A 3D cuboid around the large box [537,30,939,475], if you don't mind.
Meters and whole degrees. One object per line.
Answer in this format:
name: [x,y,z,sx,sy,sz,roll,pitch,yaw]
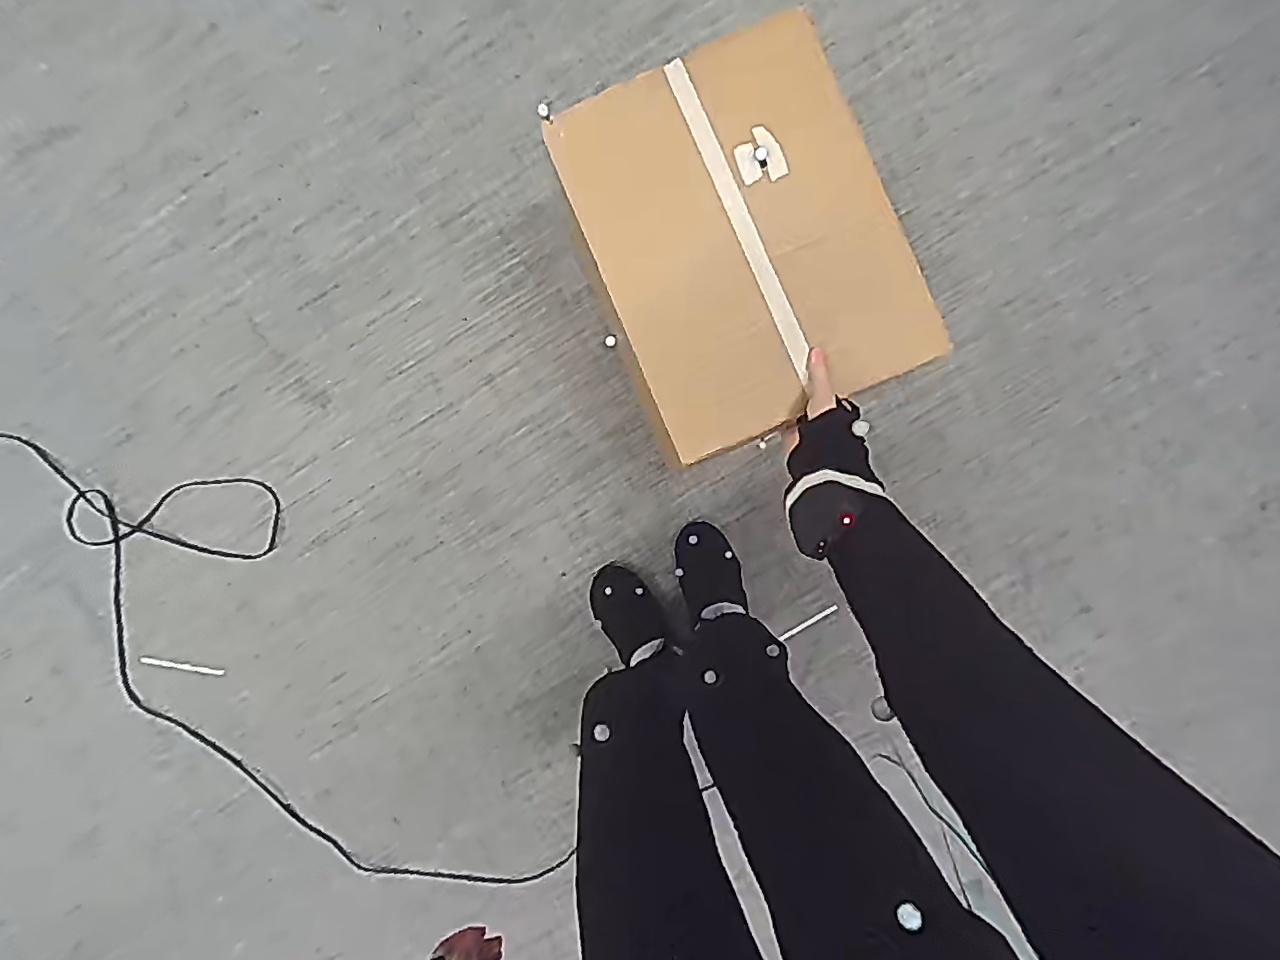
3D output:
large box: [0.111,-0.253,0.740,0.320,0.320,0.408,-24,86,1]
